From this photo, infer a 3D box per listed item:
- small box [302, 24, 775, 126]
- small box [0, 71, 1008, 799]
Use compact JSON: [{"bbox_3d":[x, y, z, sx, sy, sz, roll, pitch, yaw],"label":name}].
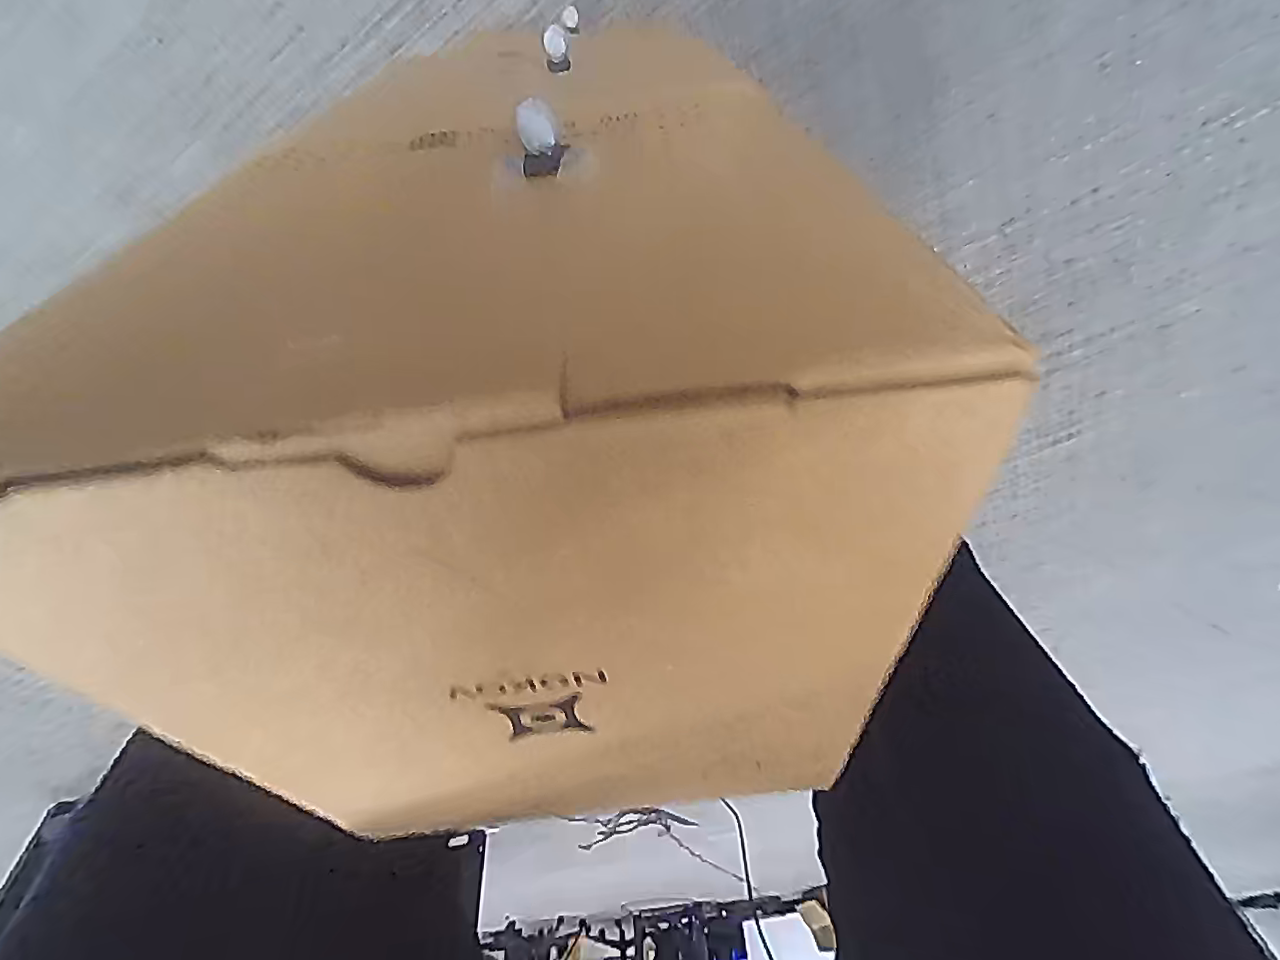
[{"bbox_3d":[-0.038,-0.130,0.297,0.168,0.176,0.179,-4,137,-1],"label":"small box"},{"bbox_3d":[-0.030,-0.011,0.186,0.168,0.176,0.179,-6,136,1],"label":"small box"}]
